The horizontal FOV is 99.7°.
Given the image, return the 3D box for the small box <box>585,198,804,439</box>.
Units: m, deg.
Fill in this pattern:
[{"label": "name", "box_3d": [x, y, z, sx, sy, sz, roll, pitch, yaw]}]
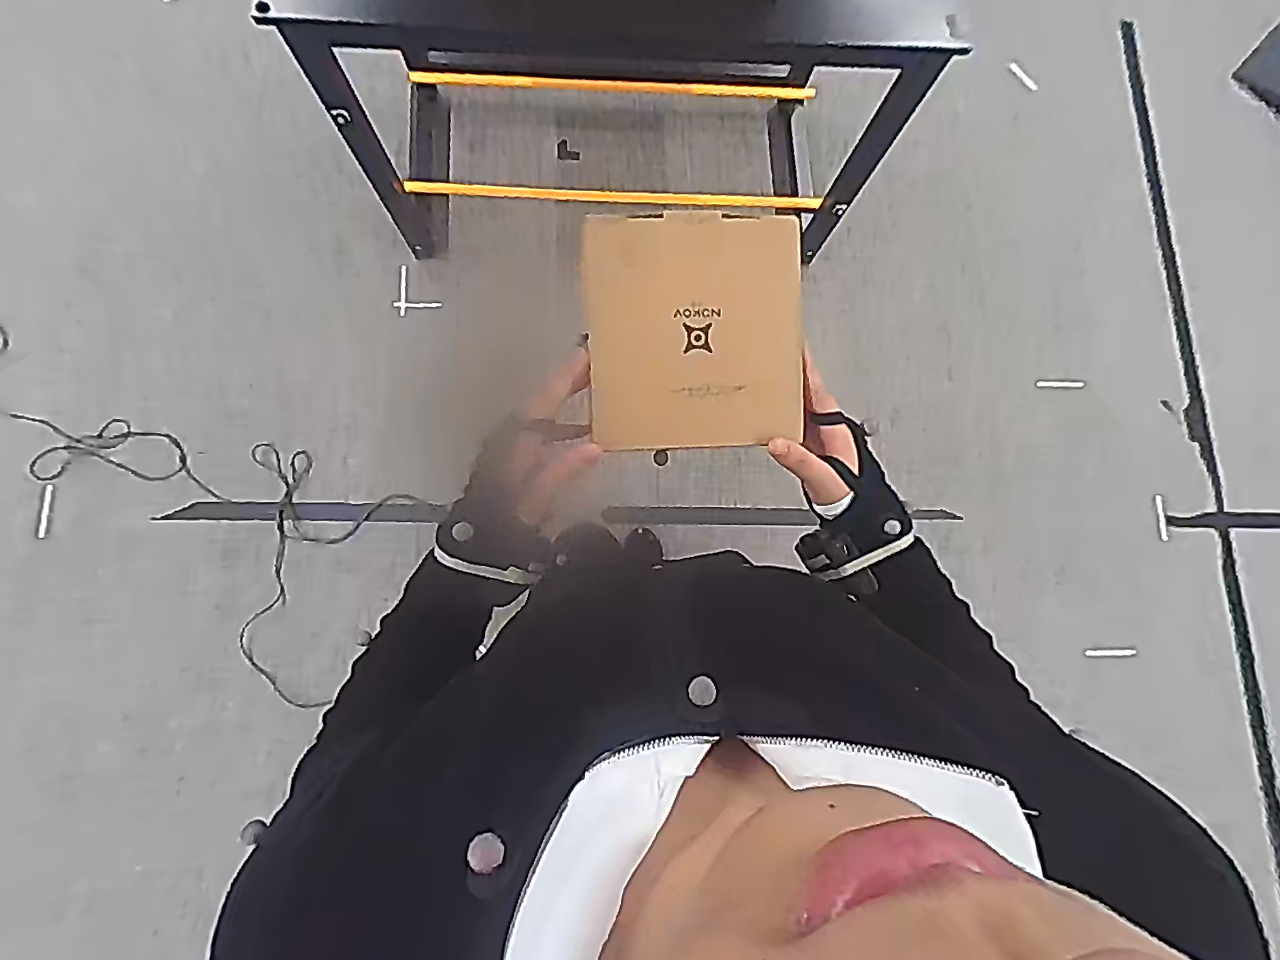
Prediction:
[{"label": "small box", "box_3d": [0.036, -0.129, 0.490, 0.168, 0.176, 0.179, -3, 94, -5]}]
